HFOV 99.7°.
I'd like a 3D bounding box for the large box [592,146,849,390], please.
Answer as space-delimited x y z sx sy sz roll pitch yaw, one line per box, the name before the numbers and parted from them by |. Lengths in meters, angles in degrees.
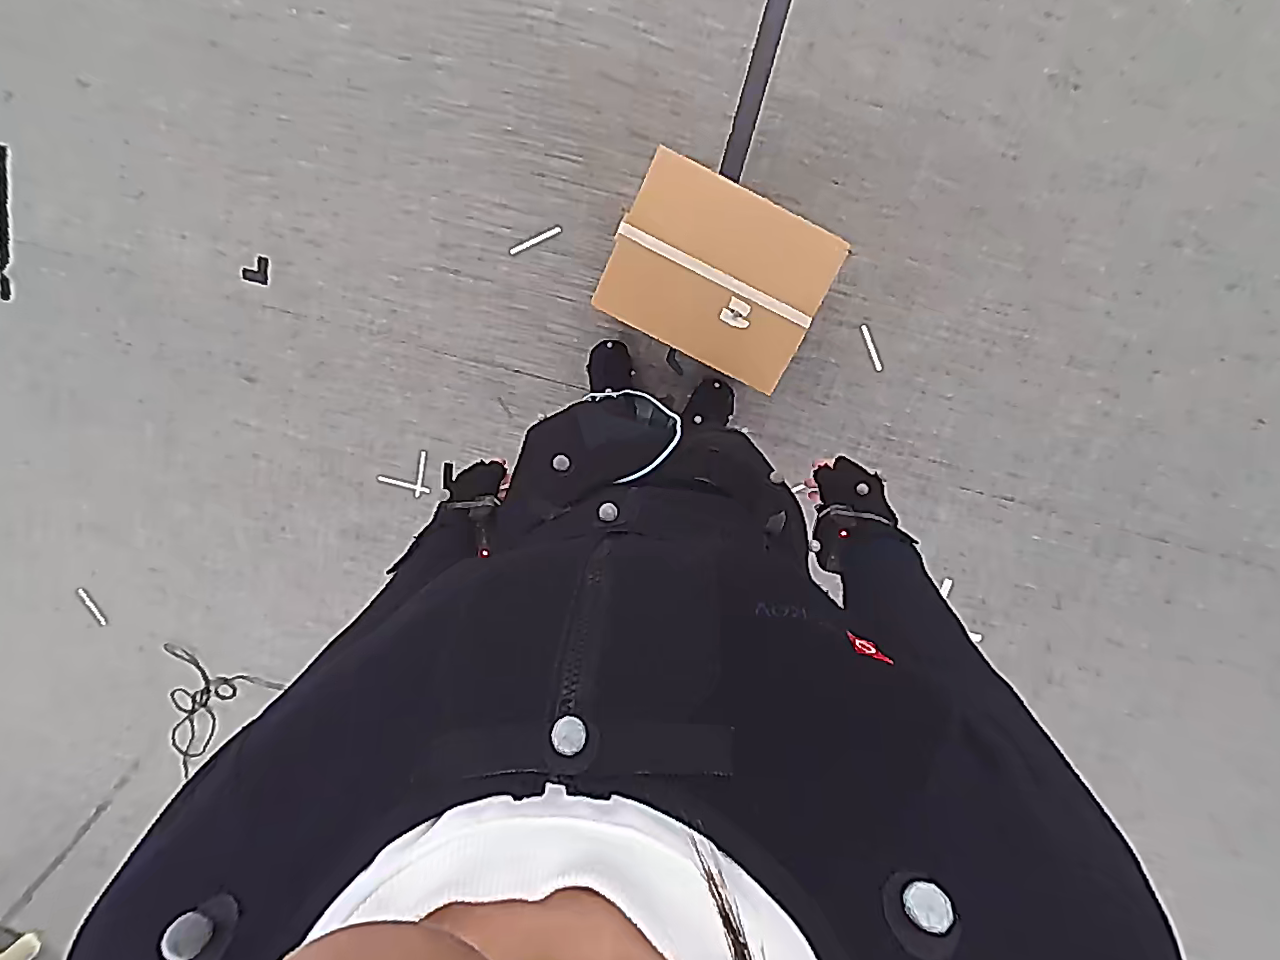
large box | 0.155 -0.432 1.171 0.408 0.320 0.320 27 106 -3
